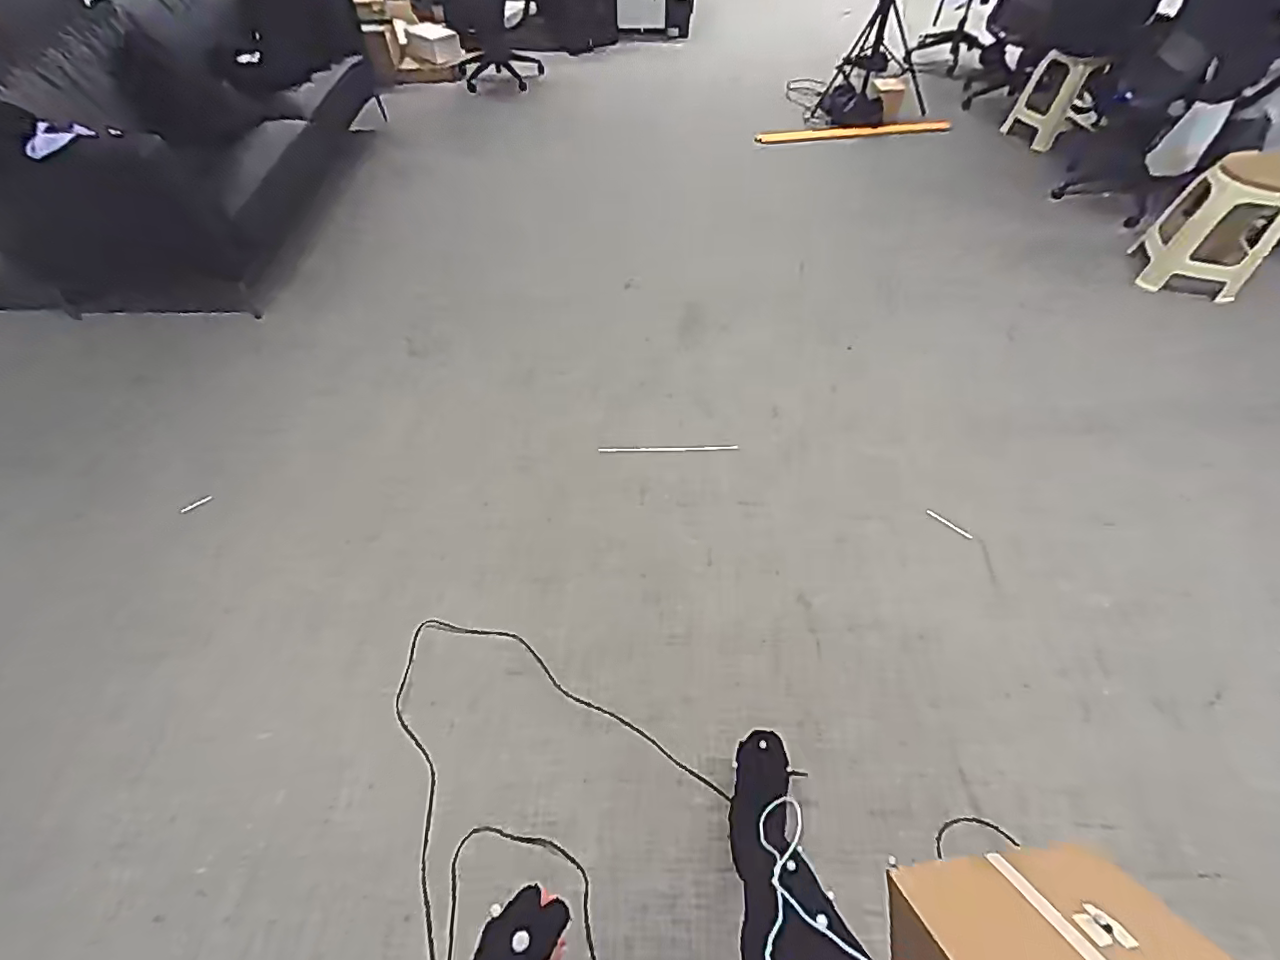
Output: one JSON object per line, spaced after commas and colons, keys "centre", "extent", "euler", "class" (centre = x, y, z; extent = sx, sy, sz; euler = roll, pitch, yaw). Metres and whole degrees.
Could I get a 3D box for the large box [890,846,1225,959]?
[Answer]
{"centre": [0.545, 0.721, 0.612], "extent": [0.320, 0.408, 0.320], "euler": [-4, 93, -5], "class": "large box"}
